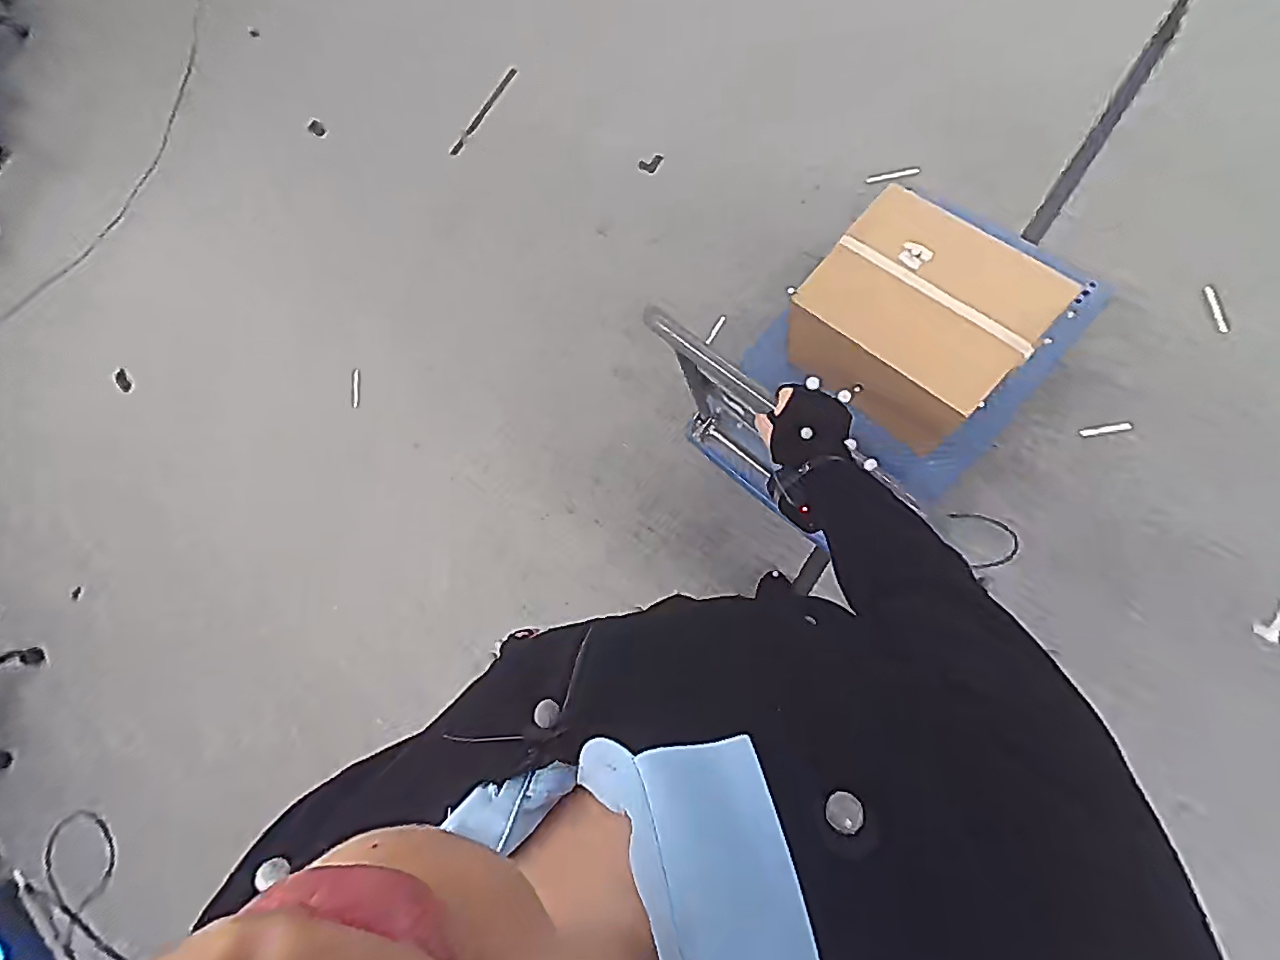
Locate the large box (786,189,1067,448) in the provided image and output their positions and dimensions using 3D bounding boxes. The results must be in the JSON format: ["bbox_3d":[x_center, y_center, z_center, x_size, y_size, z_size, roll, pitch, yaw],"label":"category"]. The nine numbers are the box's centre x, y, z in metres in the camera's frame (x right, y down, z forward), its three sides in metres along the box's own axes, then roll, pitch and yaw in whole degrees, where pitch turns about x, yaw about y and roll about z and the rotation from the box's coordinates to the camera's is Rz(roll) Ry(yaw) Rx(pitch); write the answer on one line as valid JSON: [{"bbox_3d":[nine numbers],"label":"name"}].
[{"bbox_3d":[0.577,-0.333,1.185,0.408,0.320,0.320,41,90,19],"label":"large box"}]
